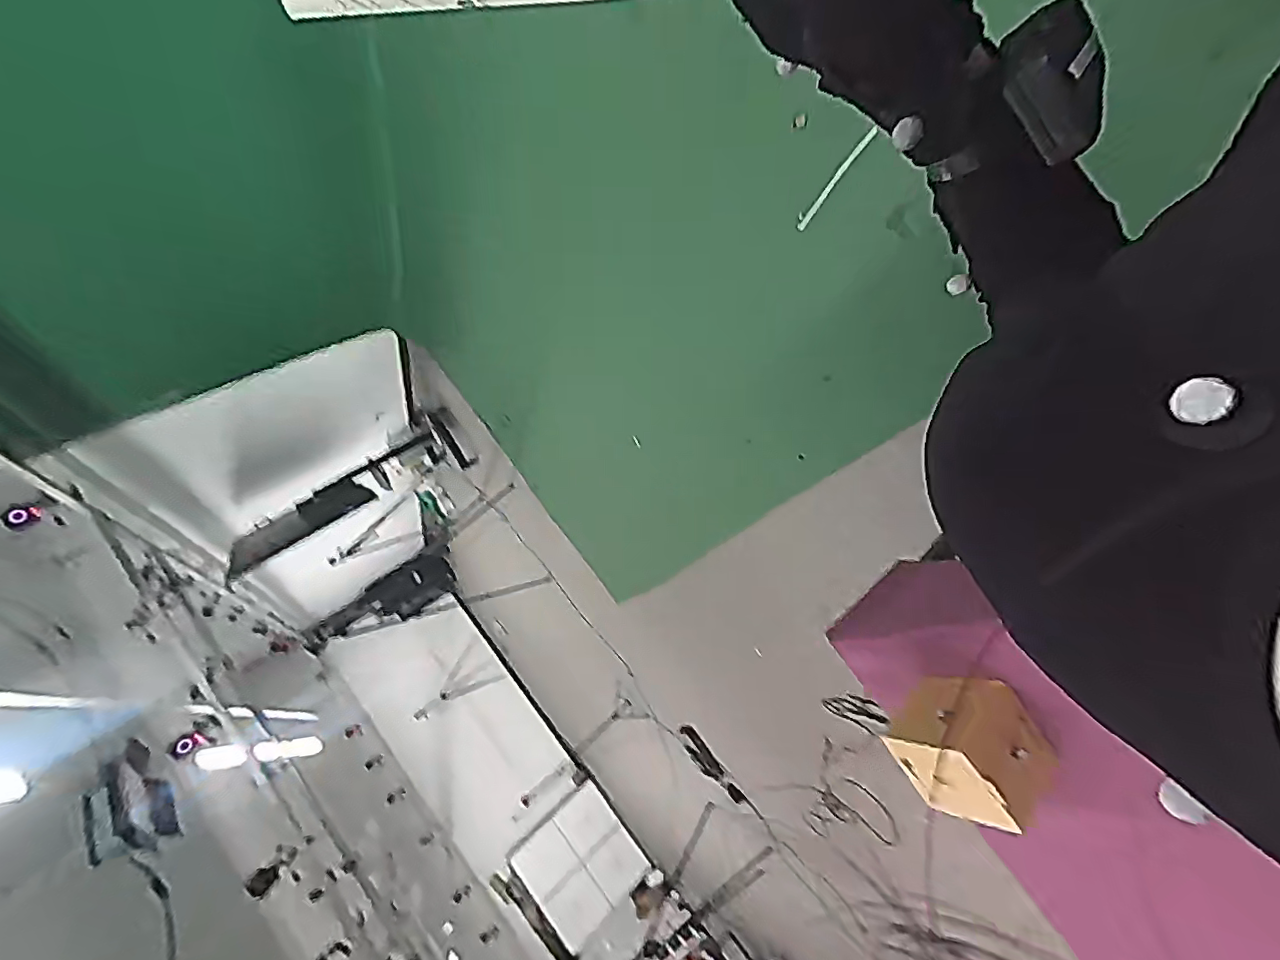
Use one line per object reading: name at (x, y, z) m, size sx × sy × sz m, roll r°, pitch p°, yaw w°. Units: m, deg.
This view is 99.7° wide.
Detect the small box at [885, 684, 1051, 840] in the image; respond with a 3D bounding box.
small box at (0.587, 0.485, 0.961) m, size 0.168 × 0.176 × 0.179 m, roll 56°, pitch 150°, yaw 0°
